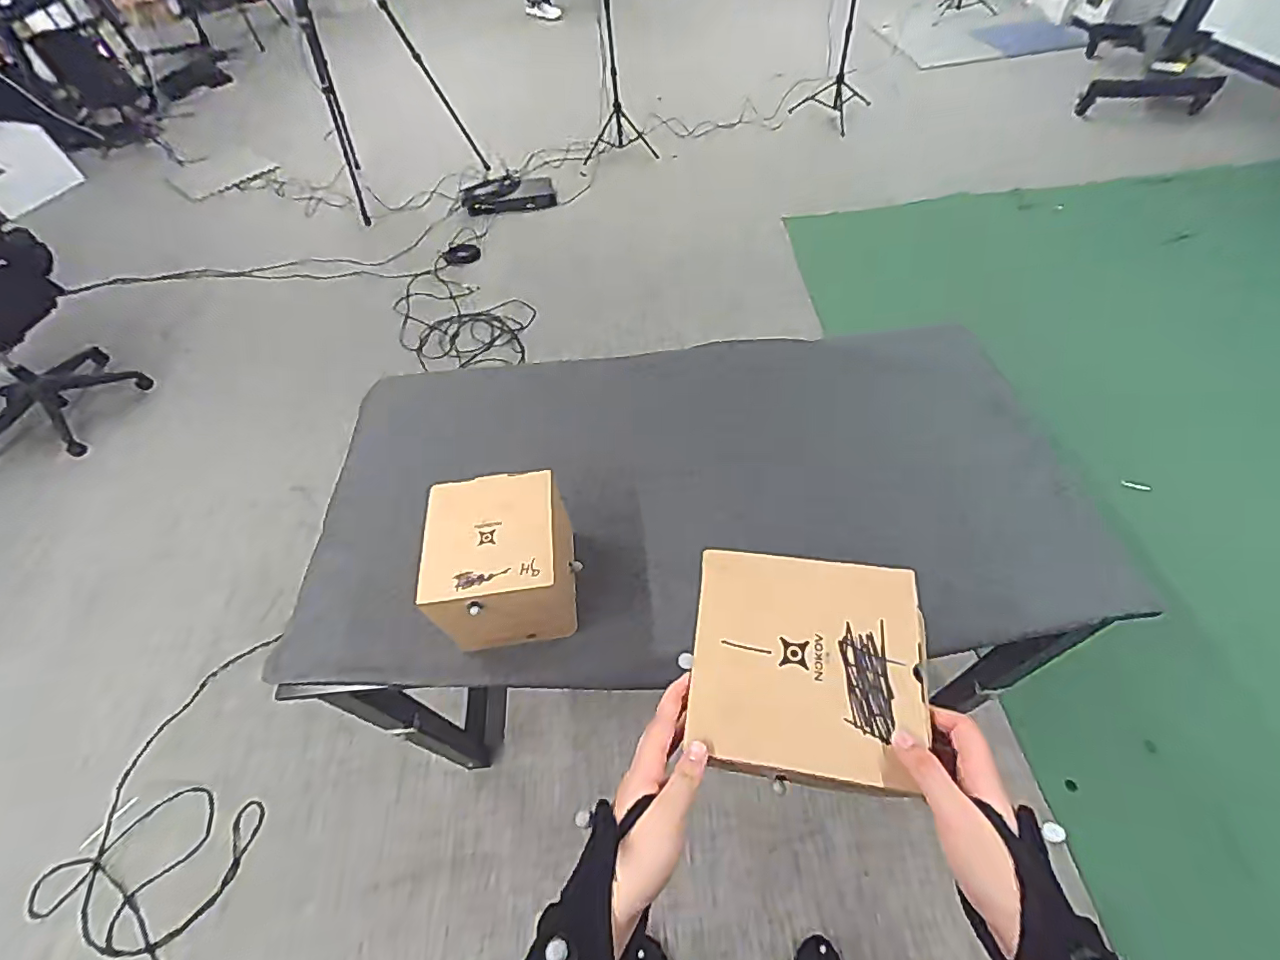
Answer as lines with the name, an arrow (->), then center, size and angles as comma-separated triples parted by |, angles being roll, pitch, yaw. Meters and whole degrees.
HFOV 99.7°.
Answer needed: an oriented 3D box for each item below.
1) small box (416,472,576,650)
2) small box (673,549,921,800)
small box -> -0.184, 0.115, 0.747 | 0.168, 0.176, 0.179 | -8, 53, 1
small box -> 0.131, 0.178, 0.491 | 0.179, 0.176, 0.168 | 5, 61, 11
